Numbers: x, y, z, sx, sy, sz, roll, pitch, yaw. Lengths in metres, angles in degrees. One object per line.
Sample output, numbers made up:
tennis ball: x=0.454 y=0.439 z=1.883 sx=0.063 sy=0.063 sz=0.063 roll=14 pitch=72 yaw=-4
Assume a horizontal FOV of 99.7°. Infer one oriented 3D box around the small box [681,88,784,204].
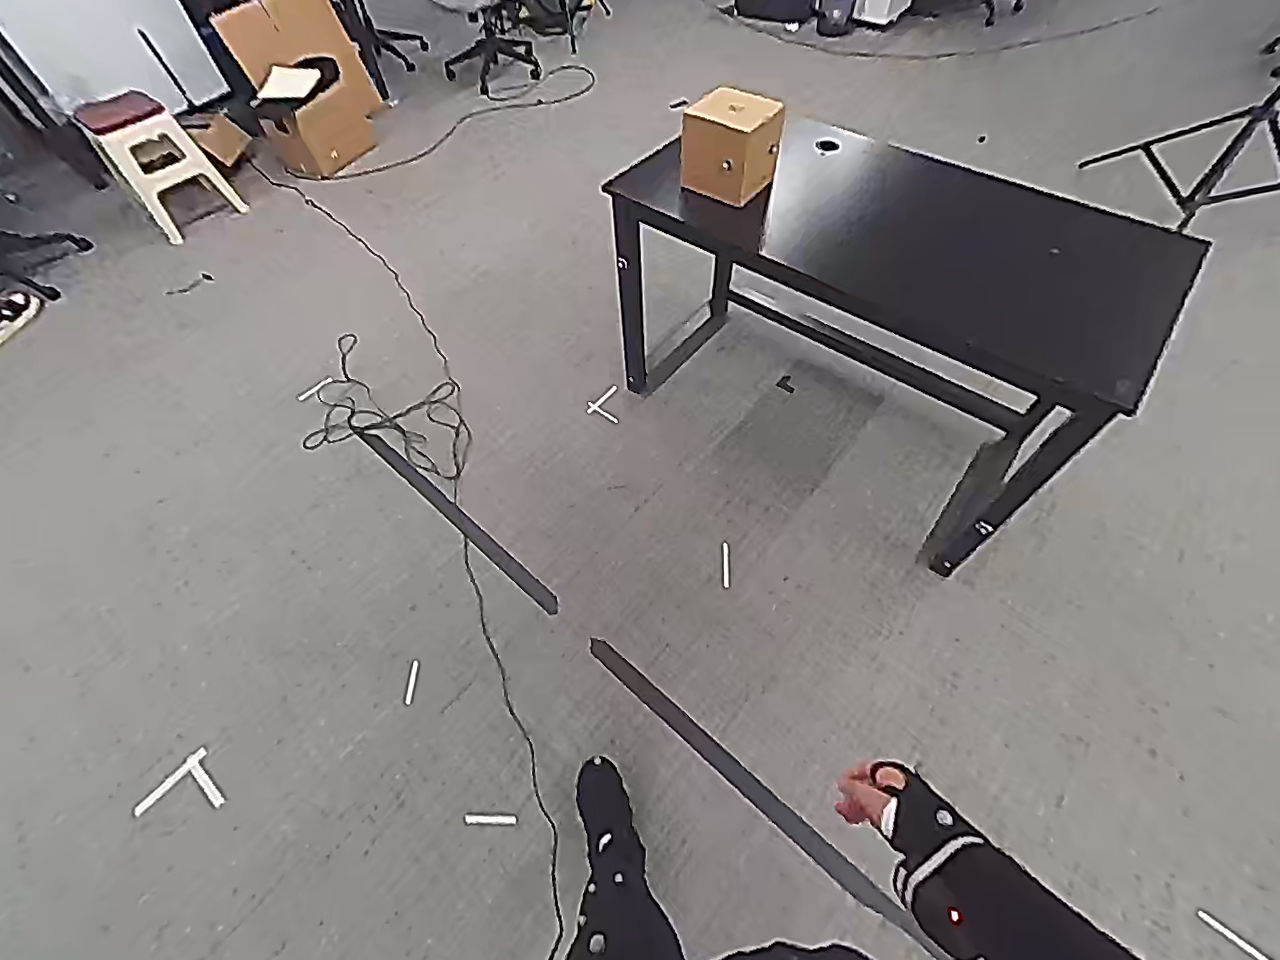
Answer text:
small box: x=0.211 y=-0.781 z=1.274 sx=0.179 sy=0.176 sz=0.168 roll=32 pitch=62 yaw=22
